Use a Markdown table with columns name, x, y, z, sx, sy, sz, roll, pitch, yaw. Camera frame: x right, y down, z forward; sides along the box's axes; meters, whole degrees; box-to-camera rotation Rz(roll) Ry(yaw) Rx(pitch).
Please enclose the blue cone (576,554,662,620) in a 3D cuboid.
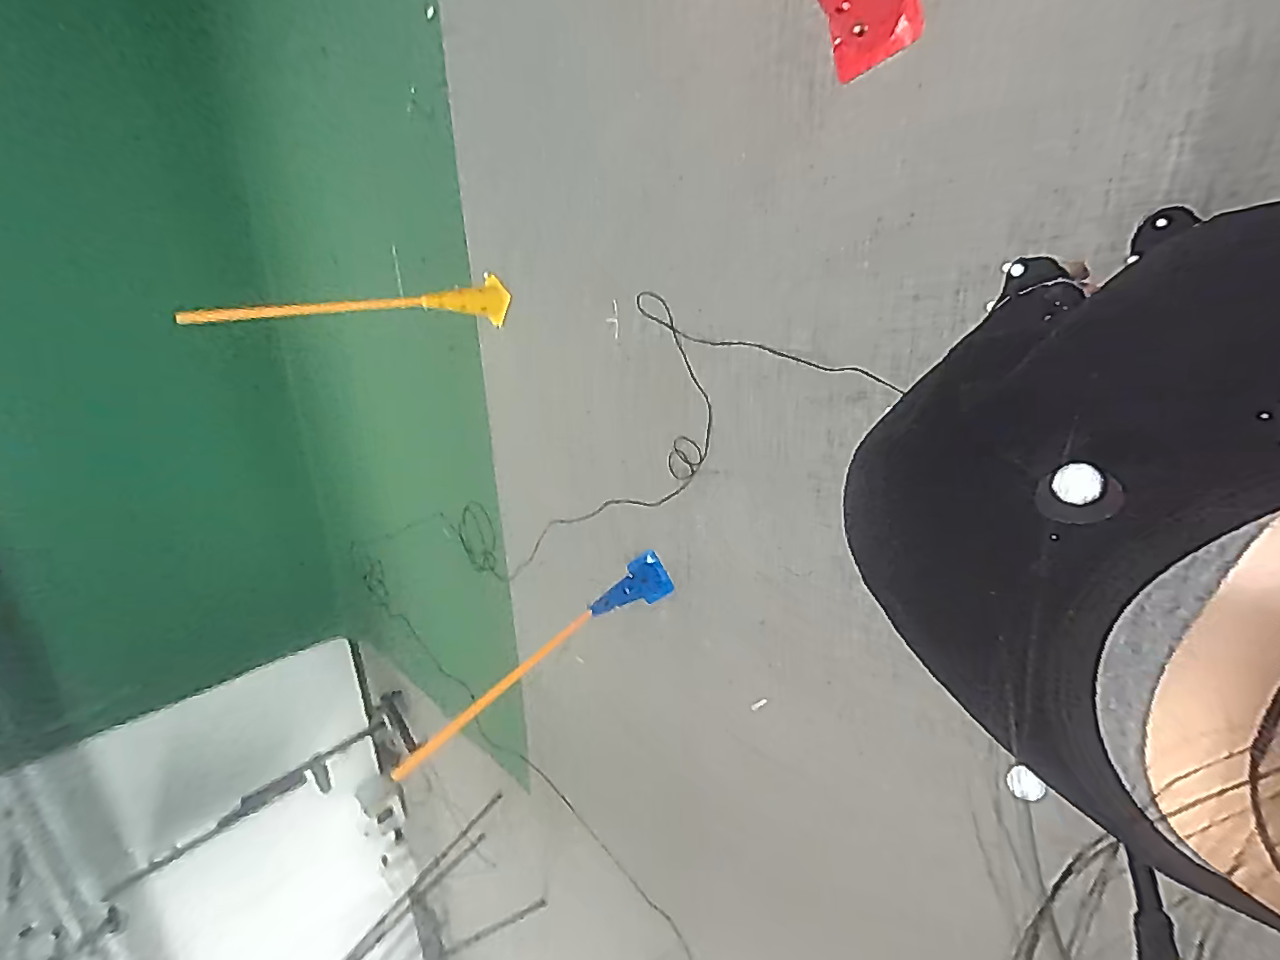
| name | x | y | z | sx | sy | sz | roll | pitch | yaw |
| --- | --- | --- | --- | --- | --- | --- | --- | --- | --- |
| blue cone | -0.105 | 0.459 | 2.153 | 0.192 | 0.380 | 0.193 | -42 | 76 | 42 |
